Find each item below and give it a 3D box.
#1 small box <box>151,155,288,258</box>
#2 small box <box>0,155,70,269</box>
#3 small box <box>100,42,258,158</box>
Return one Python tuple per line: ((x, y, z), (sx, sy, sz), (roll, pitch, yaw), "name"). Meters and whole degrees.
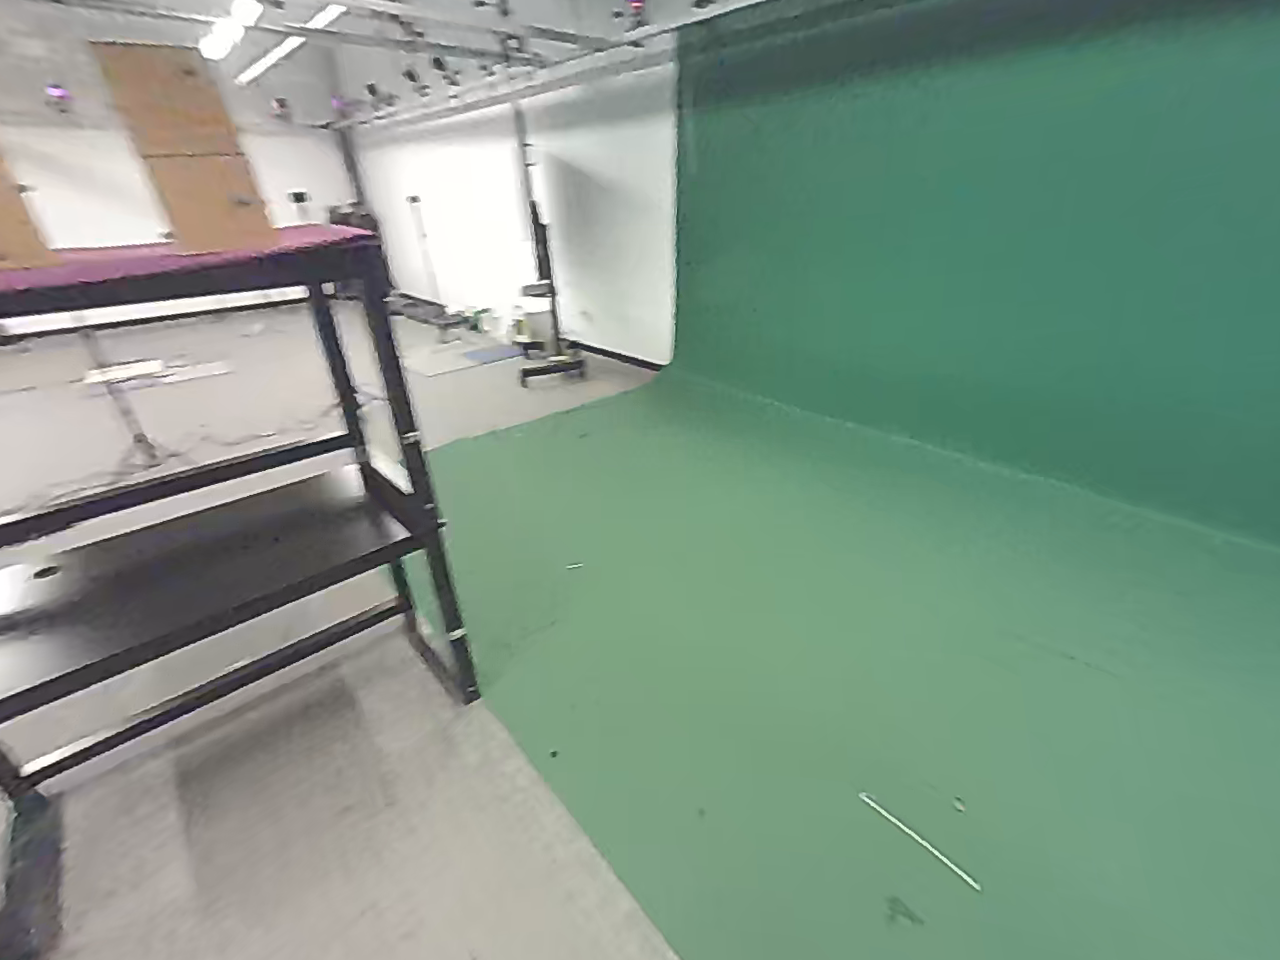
((-0.842, -0.554, 1.099), (0.179, 0.176, 0.168), (-23, 32, -30), "small box")
((-1.129, -0.454, 0.925), (0.168, 0.176, 0.179), (-22, 34, -35), "small box")
((-0.859, -0.700, 1.029), (0.179, 0.176, 0.168), (-19, 30, -28), "small box")
